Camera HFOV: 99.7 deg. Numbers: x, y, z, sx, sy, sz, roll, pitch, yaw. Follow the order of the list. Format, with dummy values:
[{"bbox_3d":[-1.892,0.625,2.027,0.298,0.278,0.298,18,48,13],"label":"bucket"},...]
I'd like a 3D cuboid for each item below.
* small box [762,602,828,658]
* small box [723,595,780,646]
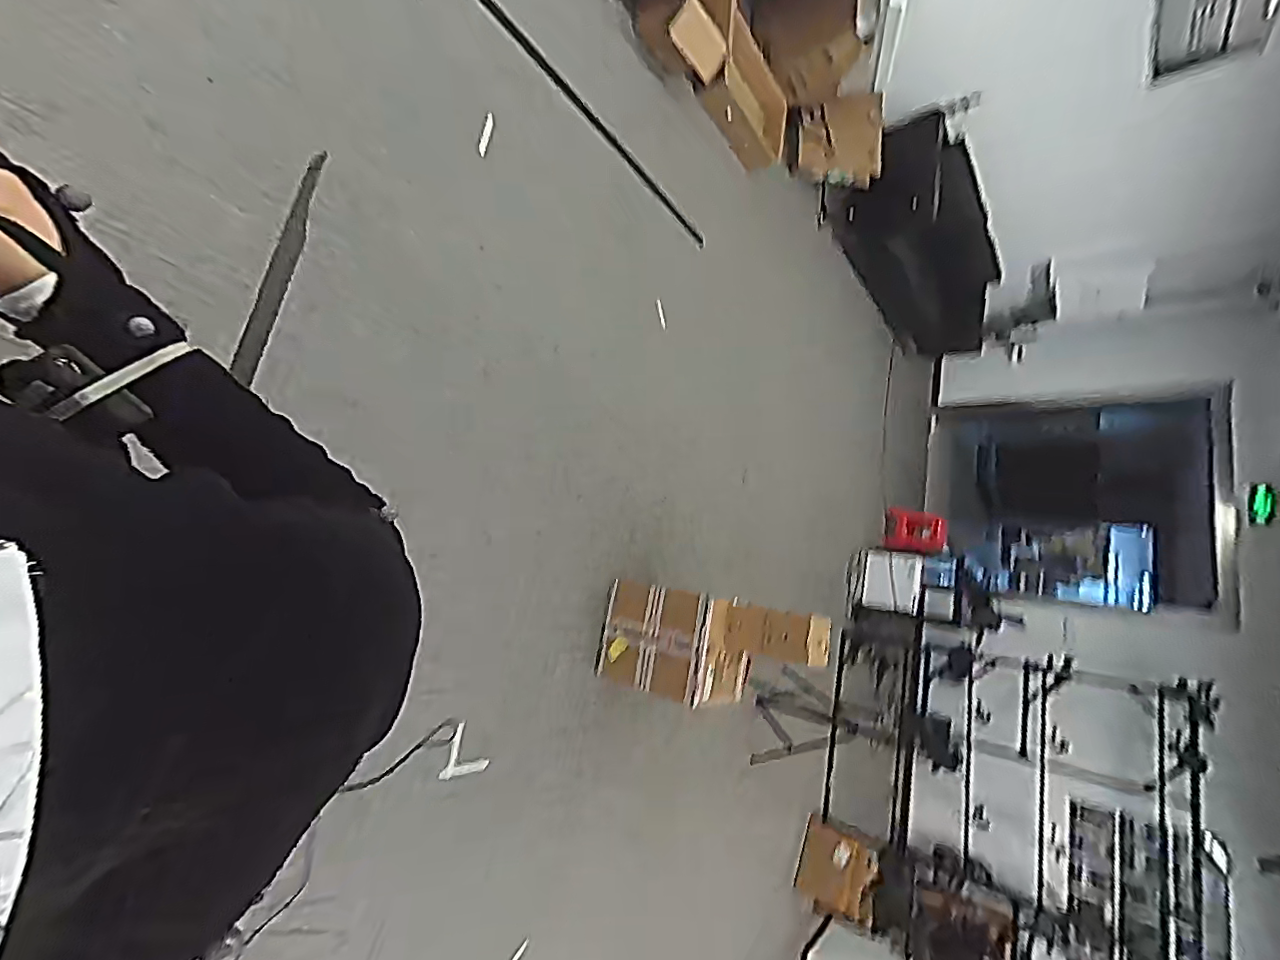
[{"bbox_3d":[0.553,0.534,1.935,0.179,0.176,0.168,22,73,-46],"label":"small box"},{"bbox_3d":[0.436,0.532,2.051,0.179,0.176,0.168,20,74,-46],"label":"small box"}]
